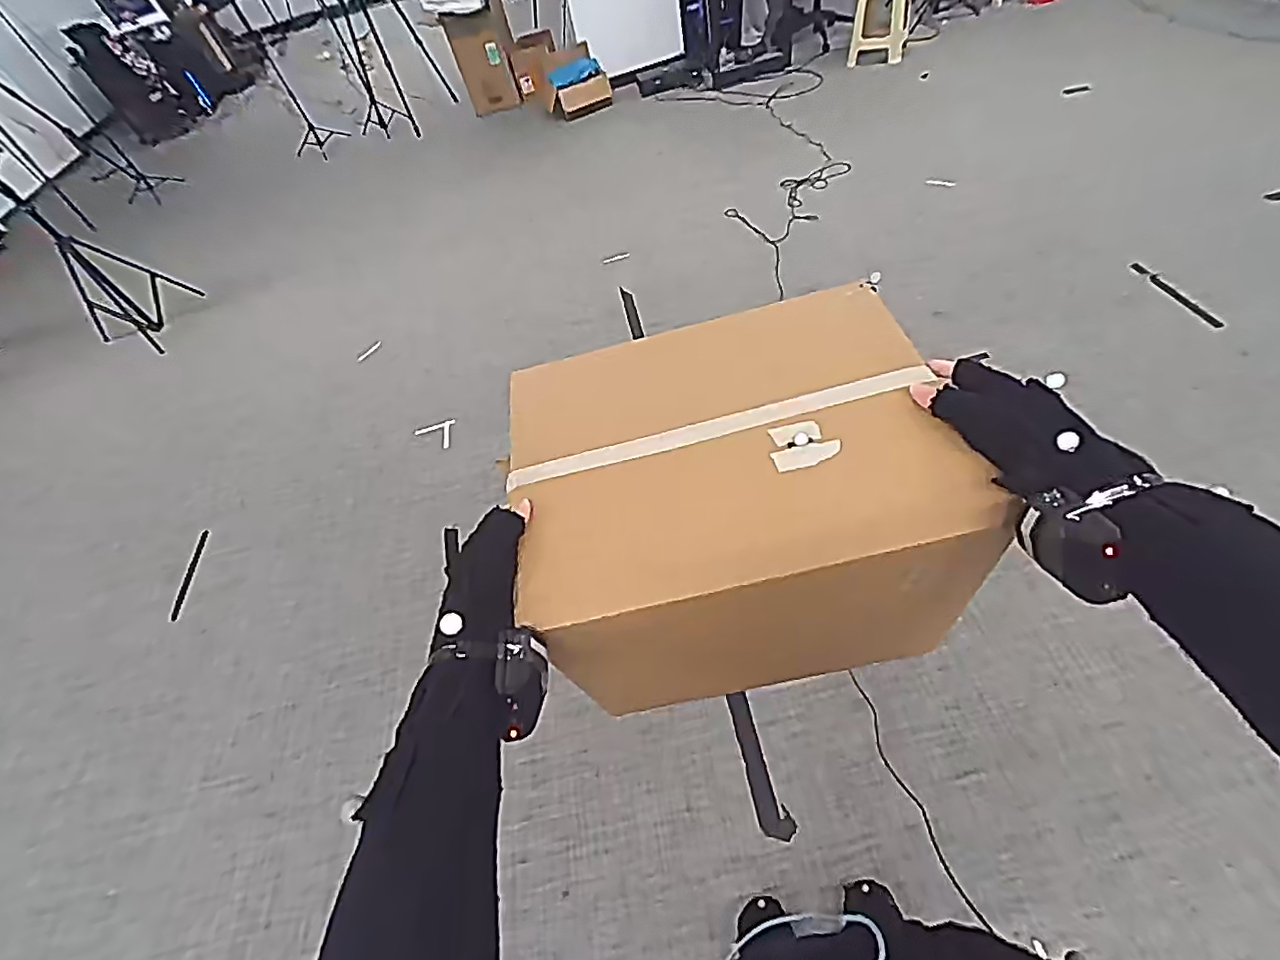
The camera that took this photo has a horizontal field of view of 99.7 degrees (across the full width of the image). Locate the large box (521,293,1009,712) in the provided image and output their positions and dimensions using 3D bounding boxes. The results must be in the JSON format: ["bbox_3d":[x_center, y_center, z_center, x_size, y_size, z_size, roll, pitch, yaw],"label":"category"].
[{"bbox_3d":[0.105,0.044,0.642,0.408,0.320,0.320,-14,54,4],"label":"large box"}]
